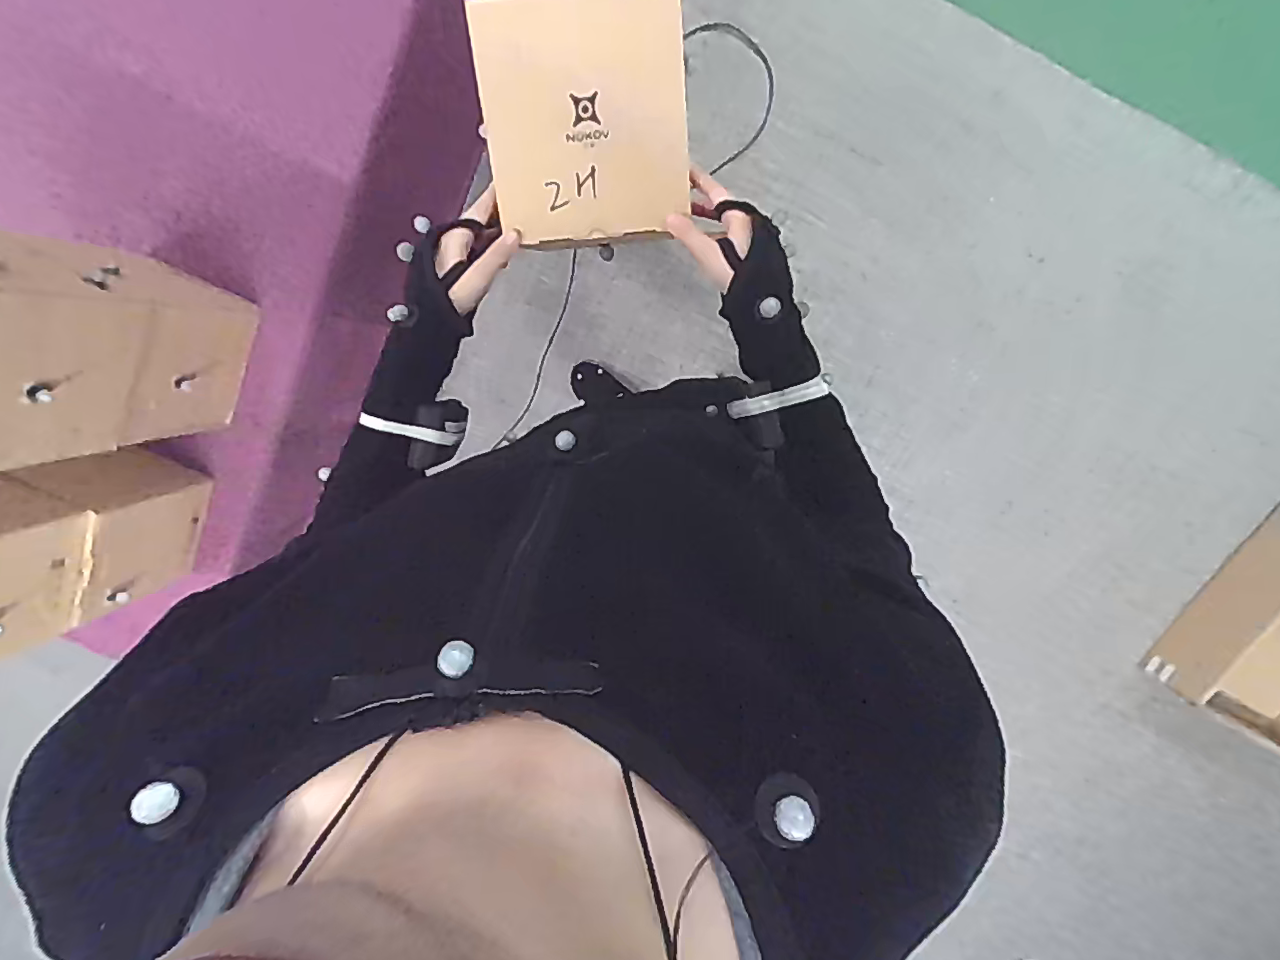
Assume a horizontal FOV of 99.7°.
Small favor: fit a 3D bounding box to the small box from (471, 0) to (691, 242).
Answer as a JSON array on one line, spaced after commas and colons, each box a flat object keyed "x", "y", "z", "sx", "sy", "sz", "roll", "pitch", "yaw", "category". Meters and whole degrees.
[{"x": -0.041, "y": -0.324, "z": 0.504, "sx": 0.168, "sy": 0.176, "sz": 0.179, "roll": -3, "pitch": 112, "yaw": 3, "category": "small box"}]

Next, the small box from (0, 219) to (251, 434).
[{"x": -0.619, "y": -0.178, "z": 0.653, "sx": 0.168, "sy": 0.176, "sz": 0.179, "roll": 25, "pitch": 104, "yaw": -4, "category": "small box"}]

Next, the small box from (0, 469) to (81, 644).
[{"x": -0.747, "y": 0.083, "z": 0.558, "sx": 0.179, "sy": 0.176, "sz": 0.168, "roll": 23, "pitch": 104, "yaw": -2, "category": "small box"}]
